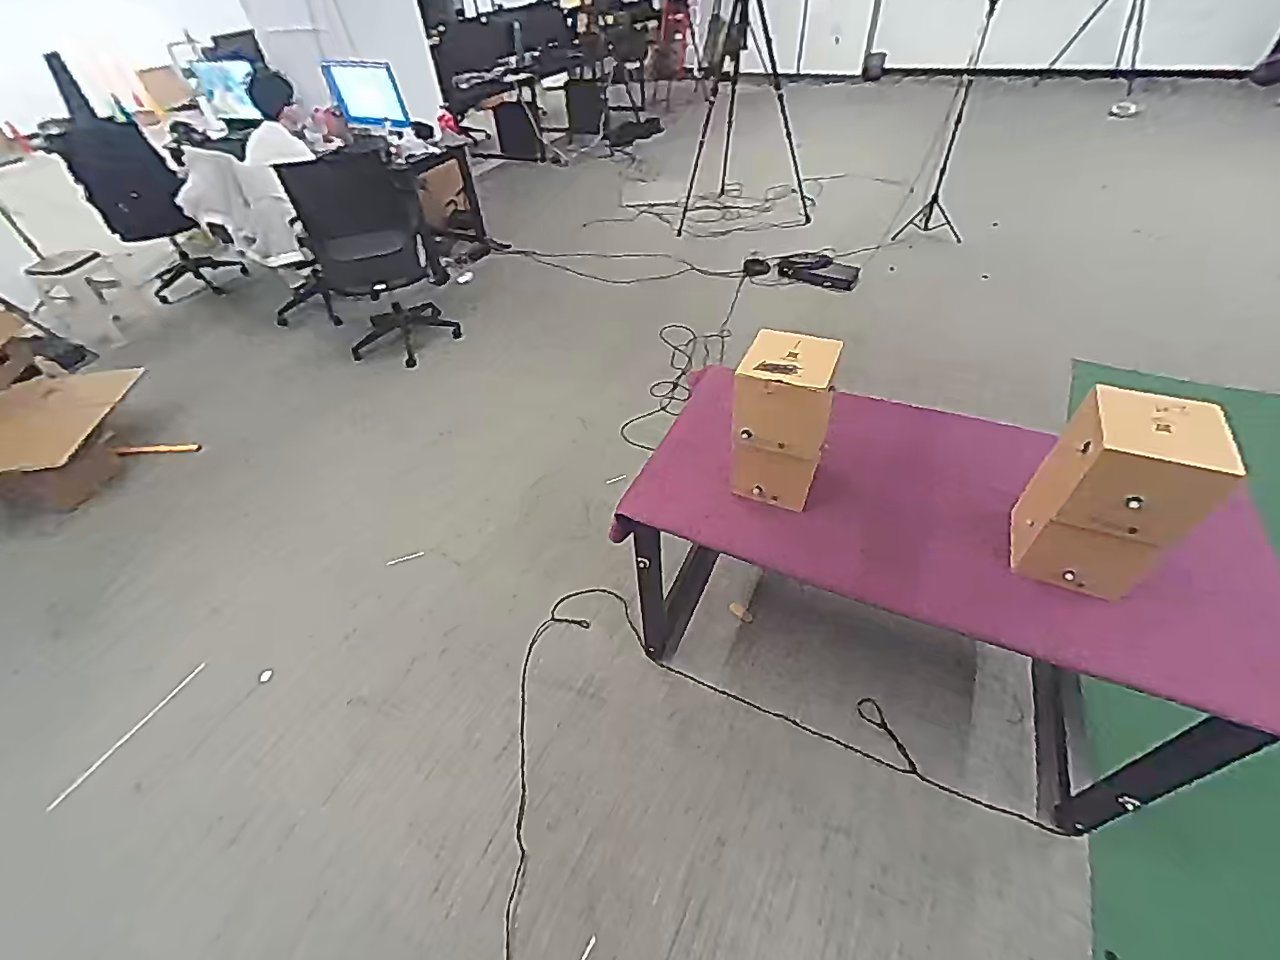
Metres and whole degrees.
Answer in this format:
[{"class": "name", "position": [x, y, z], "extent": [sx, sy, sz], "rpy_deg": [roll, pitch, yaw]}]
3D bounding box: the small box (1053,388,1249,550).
[{"class": "small box", "position": [0.796, -0.017, 0.868], "extent": [0.168, 0.176, 0.179], "rpy_deg": [17, 49, 20]}]

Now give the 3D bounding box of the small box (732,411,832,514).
[{"class": "small box", "position": [0.304, -0.057, 1.182], "extent": [0.168, 0.176, 0.179], "rpy_deg": [16, 49, 20]}]

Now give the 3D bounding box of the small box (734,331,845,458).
[{"class": "small box", "position": [0.289, -0.167, 1.063], "extent": [0.168, 0.176, 0.179], "rpy_deg": [16, 47, 20]}]
